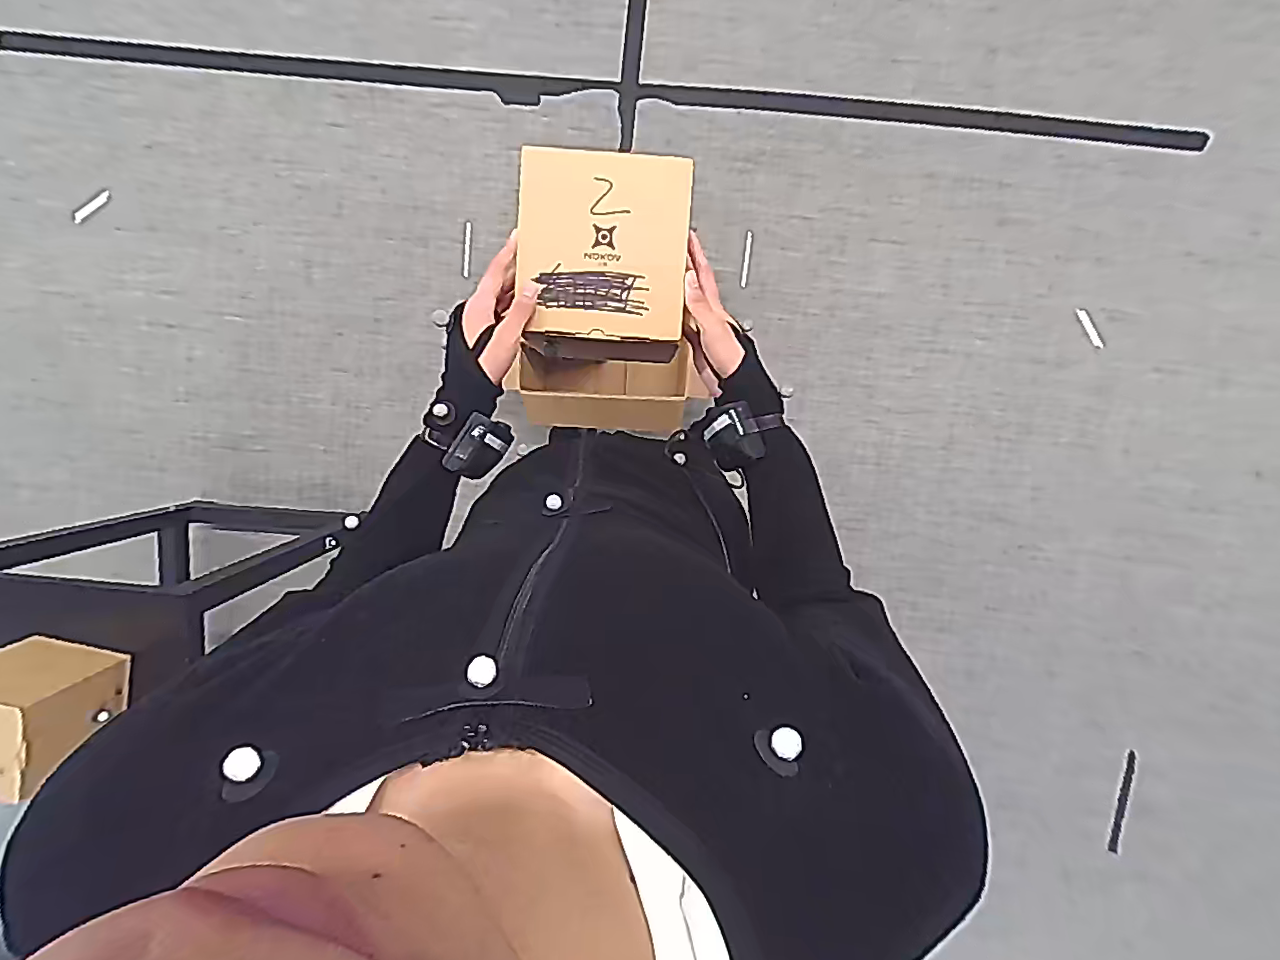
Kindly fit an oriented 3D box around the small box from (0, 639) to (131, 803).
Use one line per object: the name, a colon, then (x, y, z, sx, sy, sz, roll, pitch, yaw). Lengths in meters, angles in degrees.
small box: (-1.000, 0.379, 0.882, 0.179, 0.176, 0.168, 13, 99, -1)
